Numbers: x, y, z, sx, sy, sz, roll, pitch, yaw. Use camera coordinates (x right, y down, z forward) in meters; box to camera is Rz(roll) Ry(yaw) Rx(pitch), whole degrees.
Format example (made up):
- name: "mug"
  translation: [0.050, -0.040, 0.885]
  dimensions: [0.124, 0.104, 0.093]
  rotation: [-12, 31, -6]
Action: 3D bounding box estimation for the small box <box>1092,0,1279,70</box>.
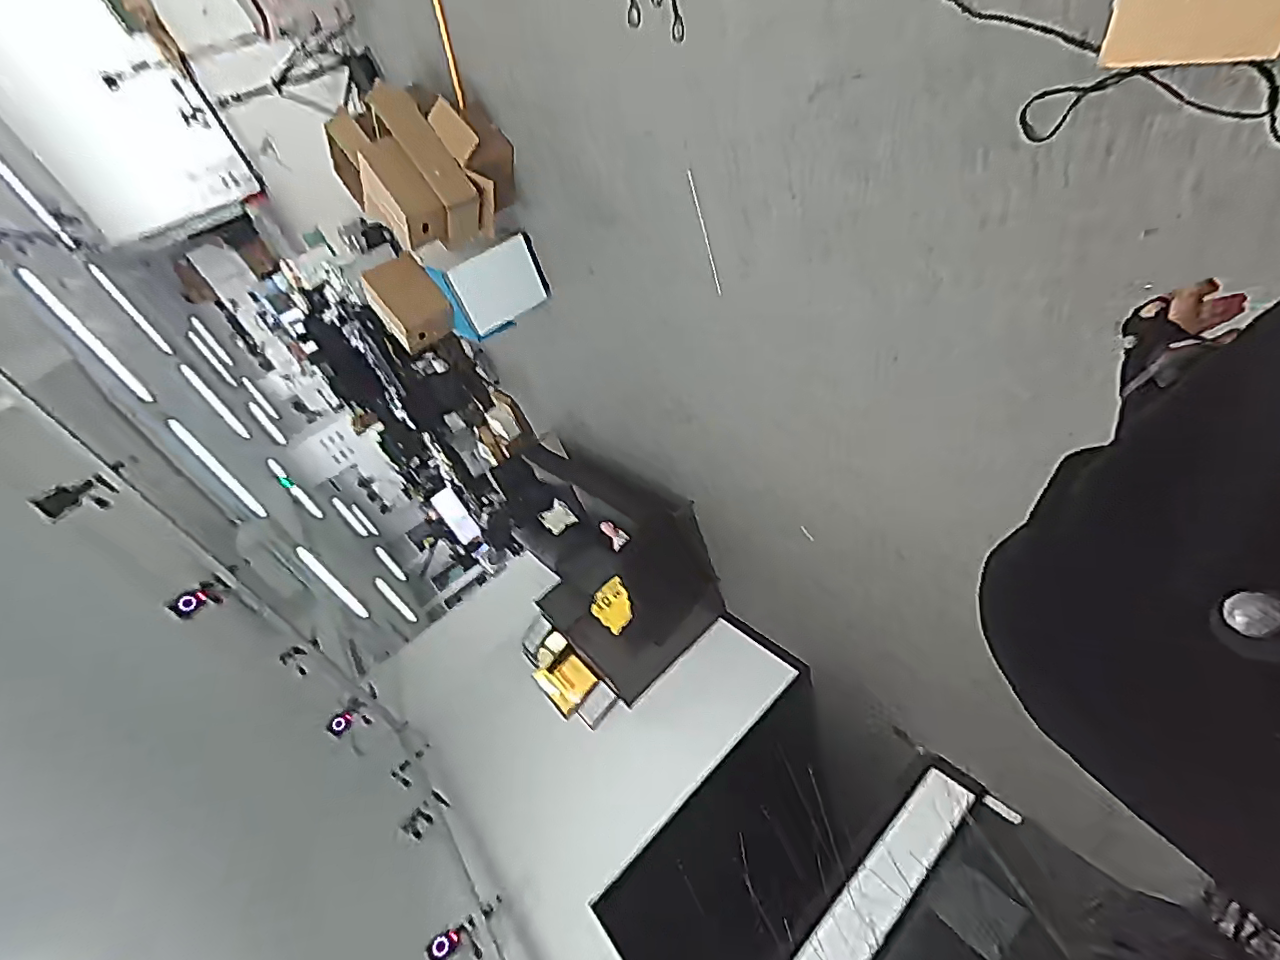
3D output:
- name: "small box"
  translation: [0.692, -0.605, 0.629]
  dimensions: [0.179, 0.176, 0.168]
  rotation: [35, 152, 41]
